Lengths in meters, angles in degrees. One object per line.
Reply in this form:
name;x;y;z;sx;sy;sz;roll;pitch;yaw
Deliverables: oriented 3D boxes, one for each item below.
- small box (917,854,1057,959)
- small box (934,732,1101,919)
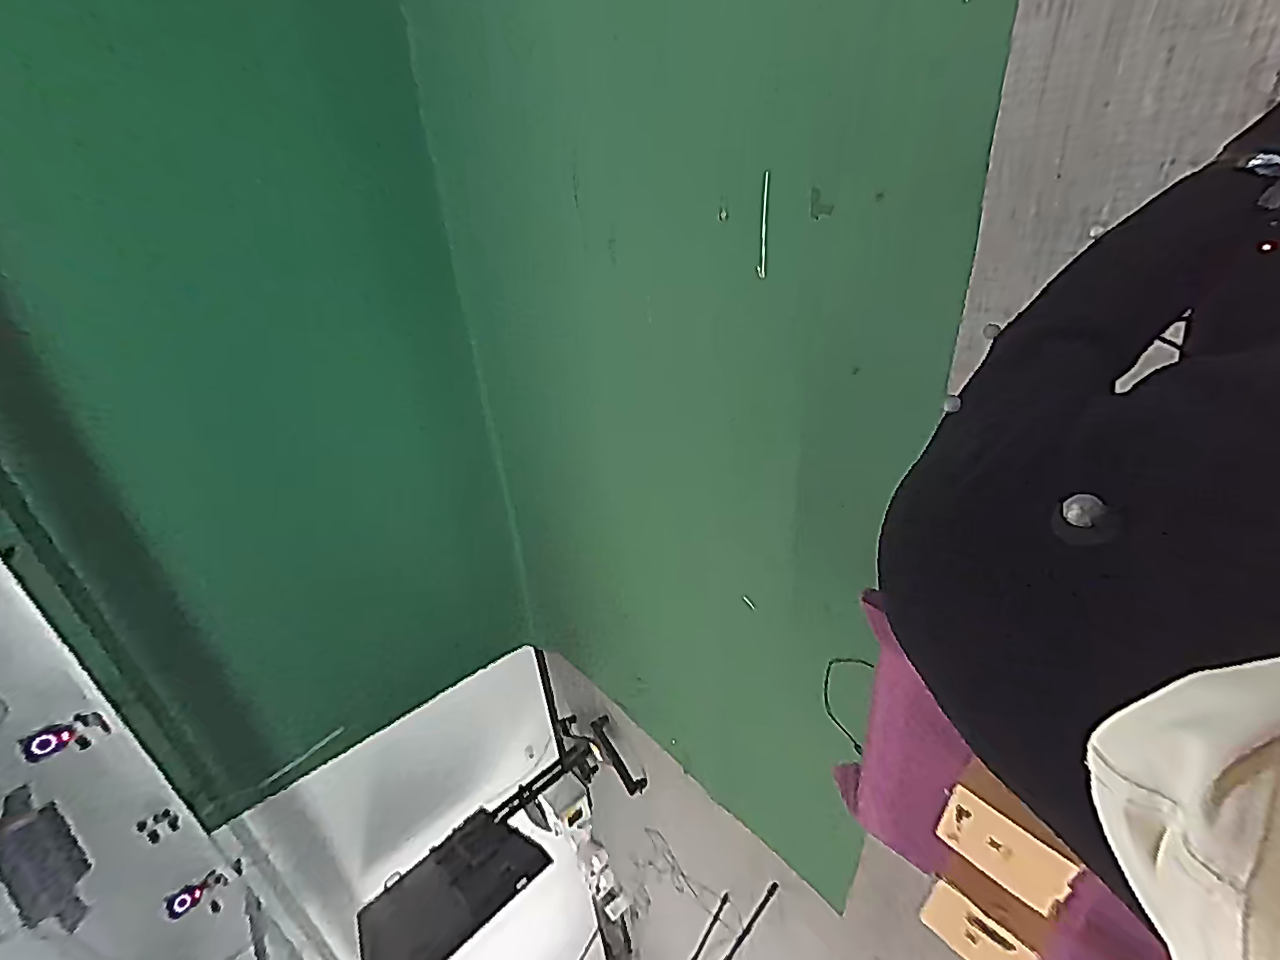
small box;0.673;0.824;1.045;0.168;0.176;0.179;29;132;40
small box;0.647;0.580;0.929;0.179;0.176;0.168;27;131;40
